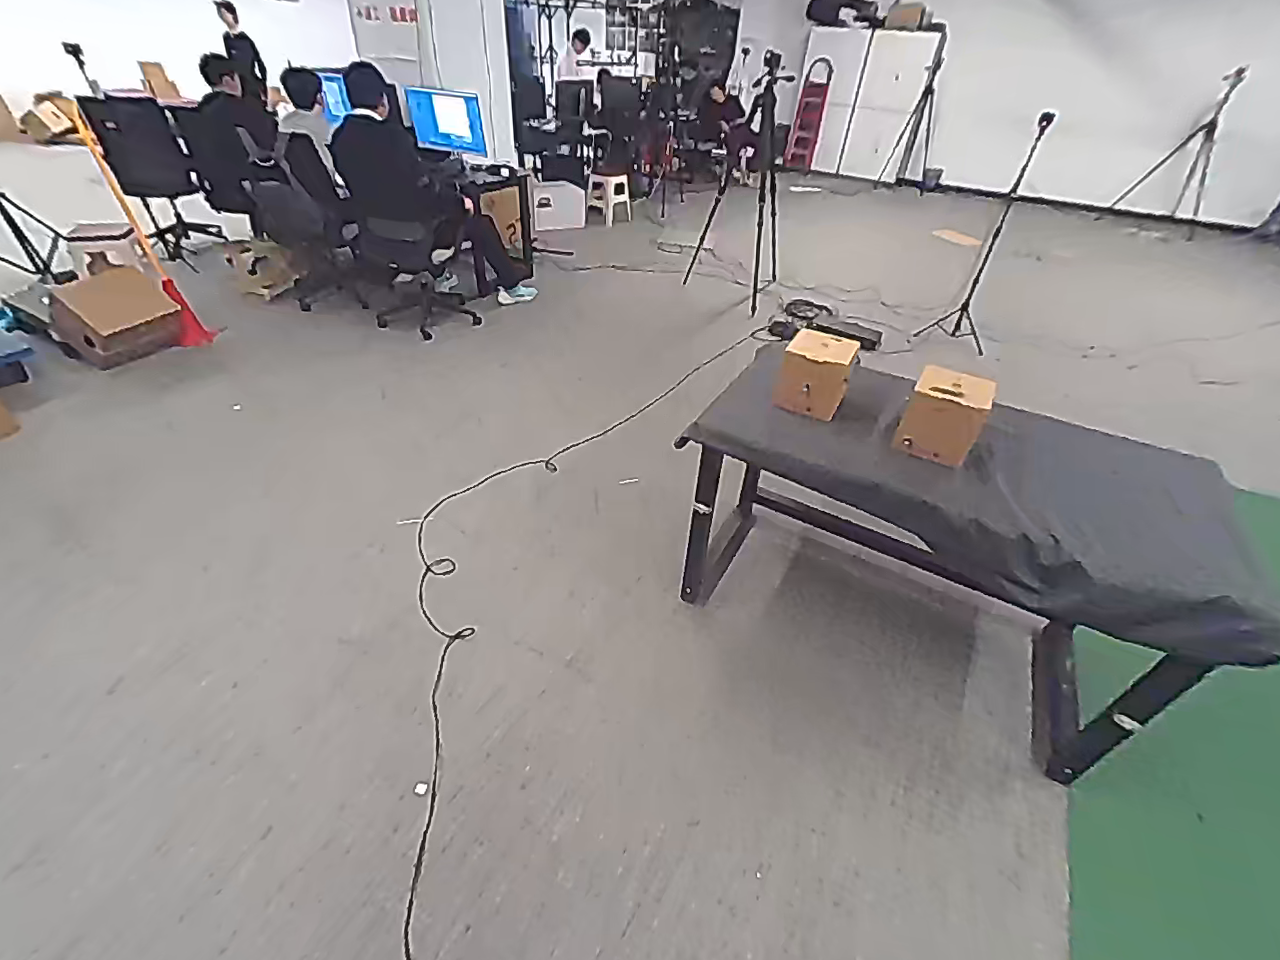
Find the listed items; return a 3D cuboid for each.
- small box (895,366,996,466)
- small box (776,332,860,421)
[{"bbox_3d":[0.758,-0.159,1.352,0.168,0.176,0.179,23,41,24],"label":"small box"},{"bbox_3d":[0.487,-0.285,1.495,0.168,0.176,0.179,21,42,21],"label":"small box"}]
